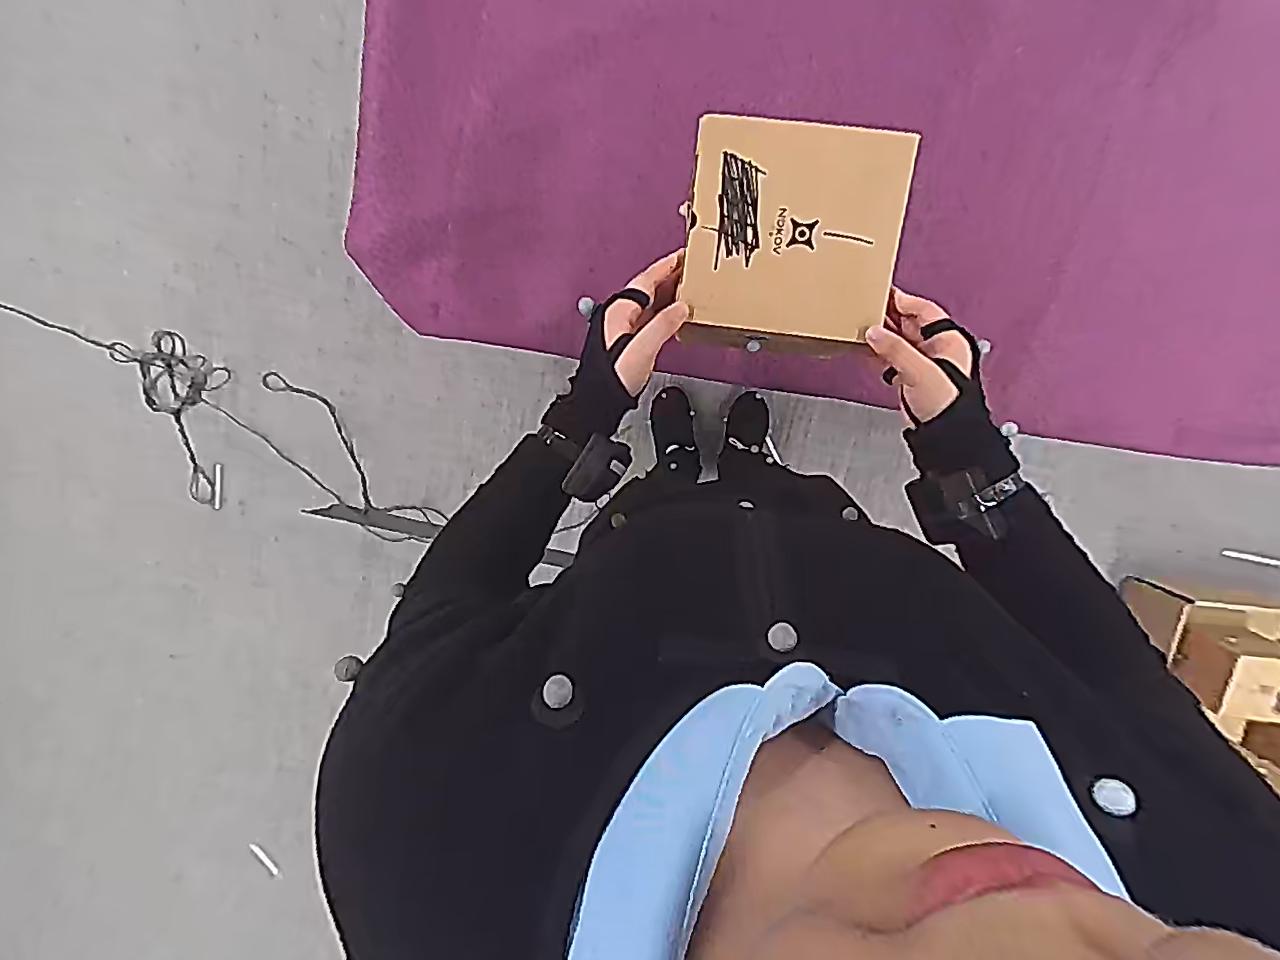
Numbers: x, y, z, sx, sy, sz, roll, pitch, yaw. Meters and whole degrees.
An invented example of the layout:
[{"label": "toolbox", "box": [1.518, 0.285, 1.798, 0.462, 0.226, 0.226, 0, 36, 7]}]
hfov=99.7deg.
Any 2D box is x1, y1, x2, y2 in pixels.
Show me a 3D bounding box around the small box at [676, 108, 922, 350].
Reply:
[{"label": "small box", "box": [0.133, -0.222, 0.523, 0.179, 0.176, 0.168, 8, 100, 3]}]
